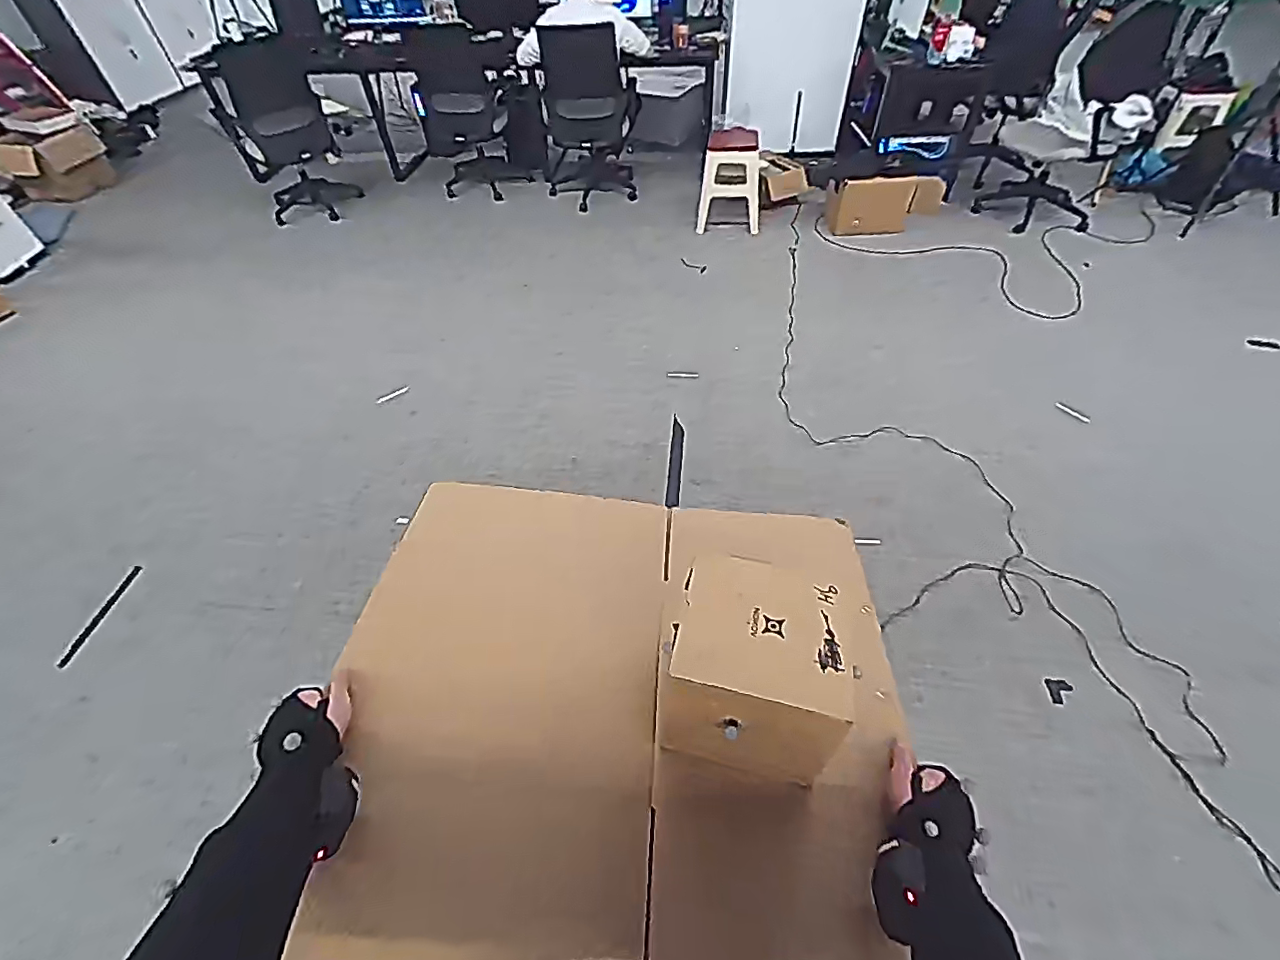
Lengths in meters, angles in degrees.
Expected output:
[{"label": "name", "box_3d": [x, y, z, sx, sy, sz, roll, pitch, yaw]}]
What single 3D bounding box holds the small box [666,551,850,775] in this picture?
[{"label": "small box", "box_3d": [0.129, 0.209, 0.620, 0.179, 0.176, 0.168, 10, 44, 11]}]
